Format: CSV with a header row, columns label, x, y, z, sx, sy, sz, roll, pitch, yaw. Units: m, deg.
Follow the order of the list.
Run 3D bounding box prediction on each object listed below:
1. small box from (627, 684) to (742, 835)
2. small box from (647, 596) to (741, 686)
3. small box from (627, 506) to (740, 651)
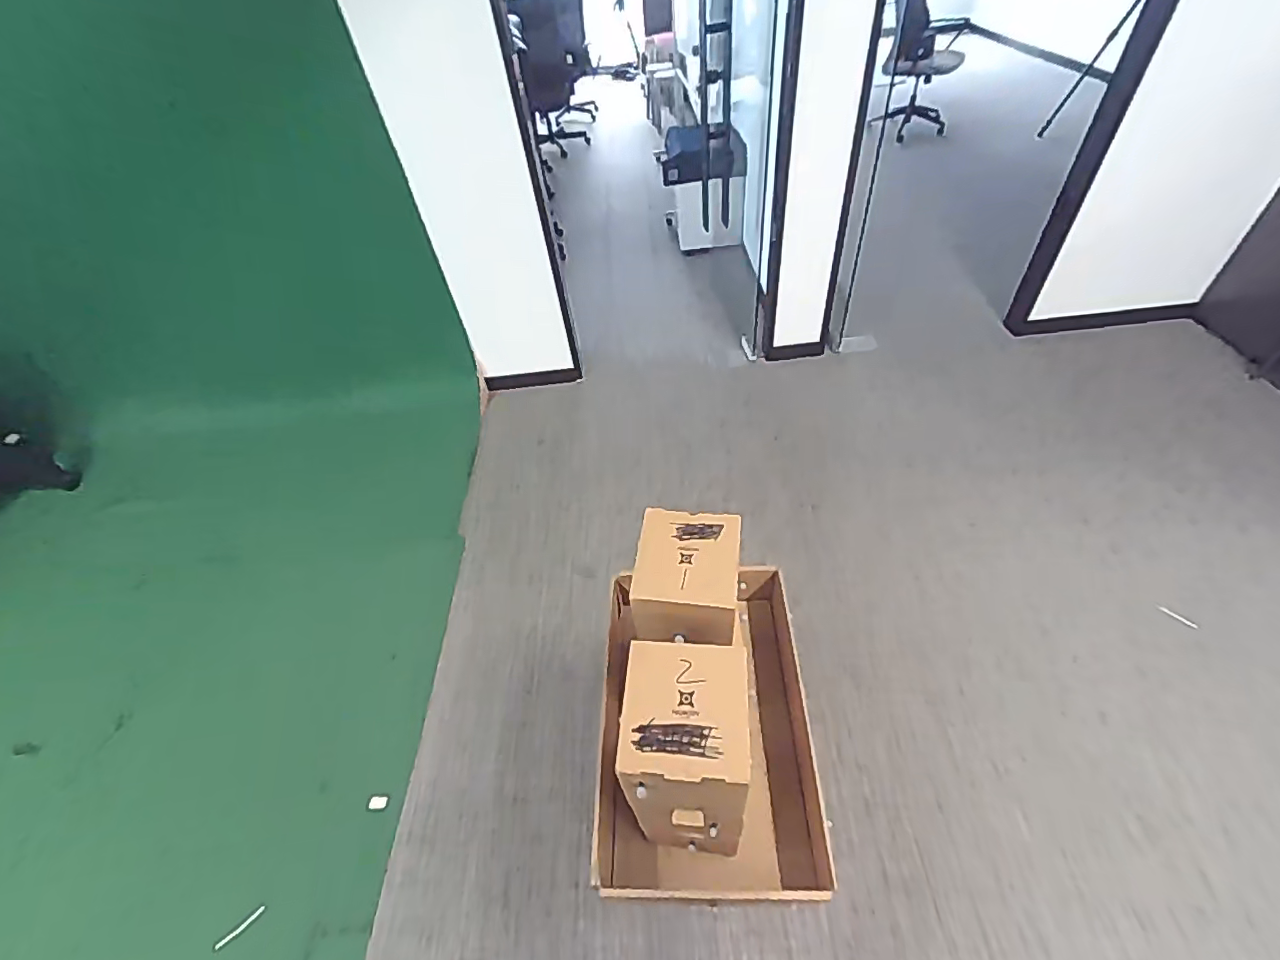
label,x,y,z,sx,sy,sz,roll,pitch,yaw
small box,0.080,0.458,0.882,0.168,0.176,0.179,2,47,8
small box,0.100,0.281,1.047,0.168,0.176,0.179,-3,49,4
small box,0.080,0.169,0.929,0.168,0.176,0.179,4,51,11
